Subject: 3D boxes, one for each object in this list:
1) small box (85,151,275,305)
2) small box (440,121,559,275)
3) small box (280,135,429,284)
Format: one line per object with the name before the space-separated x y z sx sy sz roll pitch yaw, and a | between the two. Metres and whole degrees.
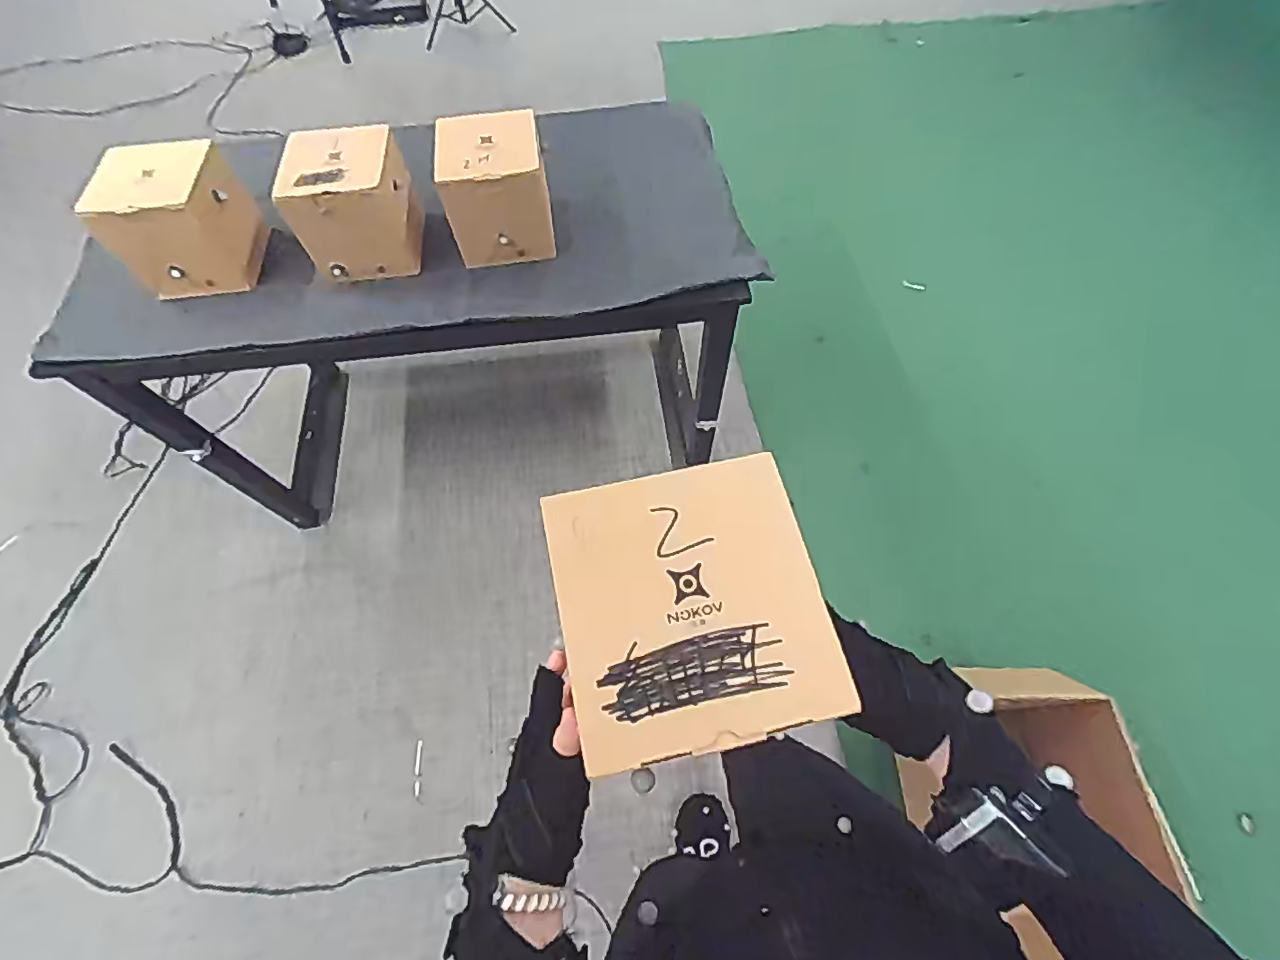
small box | -0.767 -0.429 0.928 0.168 0.176 0.179 -7 61 -4
small box | -0.241 -0.493 0.953 0.168 0.176 0.179 -8 62 -3
small box | -0.481 -0.460 0.941 0.168 0.176 0.179 -6 62 -3
